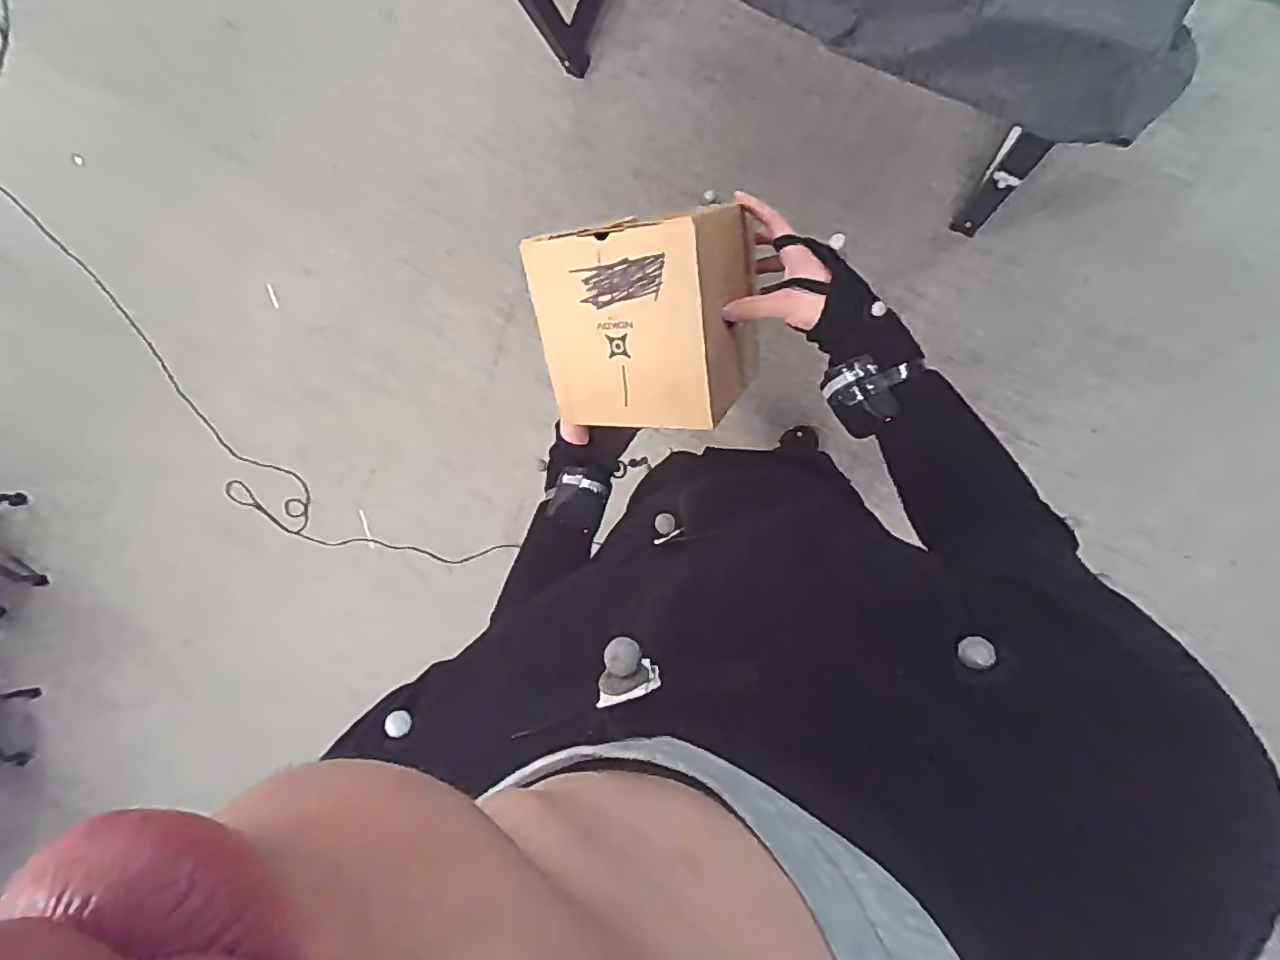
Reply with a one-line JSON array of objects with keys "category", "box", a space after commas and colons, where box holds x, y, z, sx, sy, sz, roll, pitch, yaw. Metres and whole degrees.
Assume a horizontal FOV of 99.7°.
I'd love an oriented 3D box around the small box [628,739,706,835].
[{"category": "small box", "box": [0.087, 0.905, 1.602, 0.168, 0.176, 0.179, -18, 90, 16]}]
